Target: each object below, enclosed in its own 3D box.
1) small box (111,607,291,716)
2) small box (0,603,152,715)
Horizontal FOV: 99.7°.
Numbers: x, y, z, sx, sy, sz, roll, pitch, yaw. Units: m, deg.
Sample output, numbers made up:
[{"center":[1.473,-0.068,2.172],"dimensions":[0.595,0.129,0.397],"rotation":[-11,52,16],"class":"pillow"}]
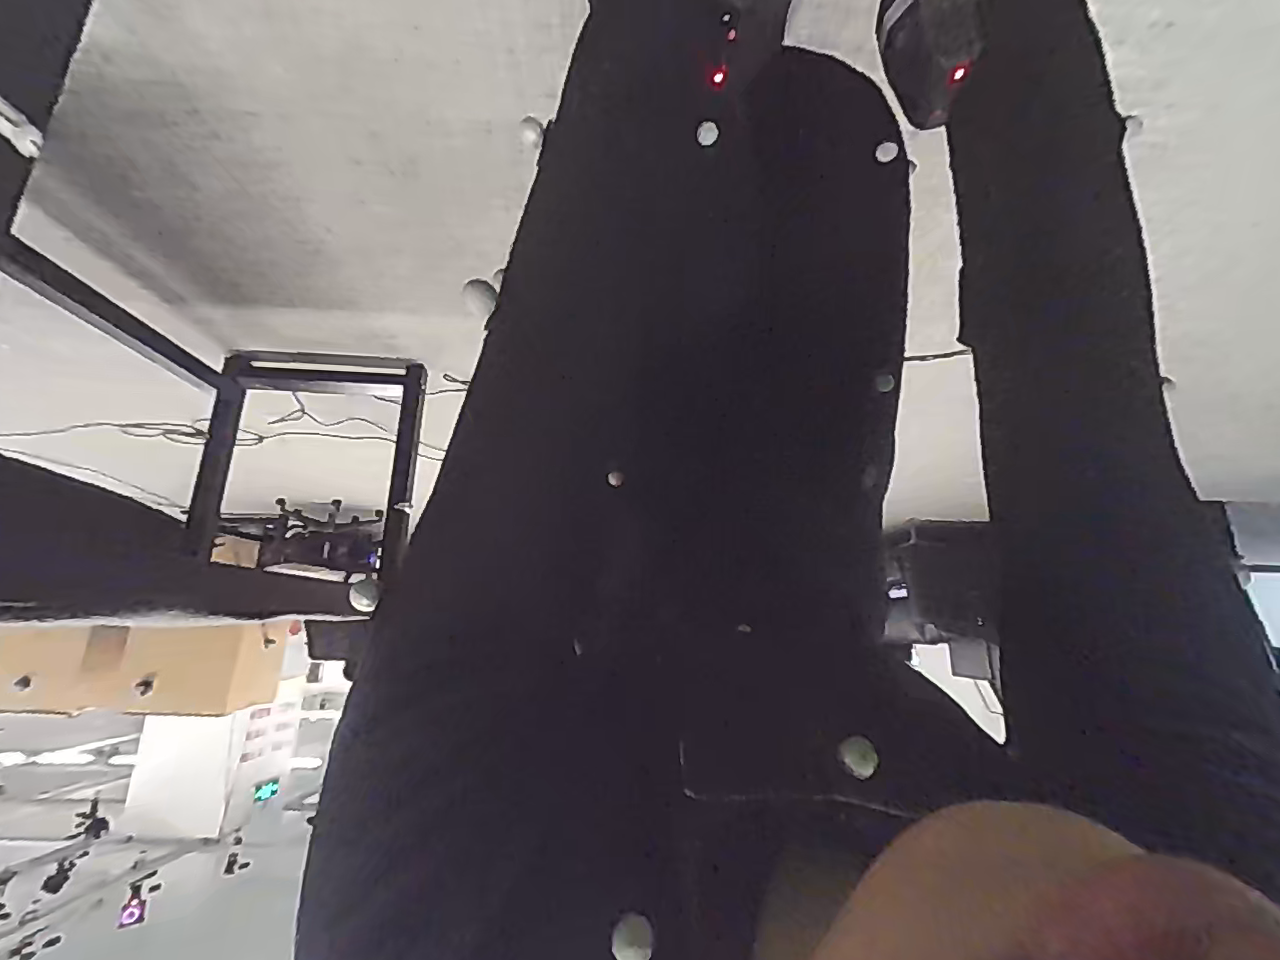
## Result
[{"center":[-0.765,0.317,0.965],"dimensions":[0.179,0.176,0.168],"rotation":[4,165,-6],"class":"small box"},{"center":[-0.991,0.302,0.938],"dimensions":[0.179,0.176,0.168],"rotation":[3,165,-7],"class":"small box"}]
